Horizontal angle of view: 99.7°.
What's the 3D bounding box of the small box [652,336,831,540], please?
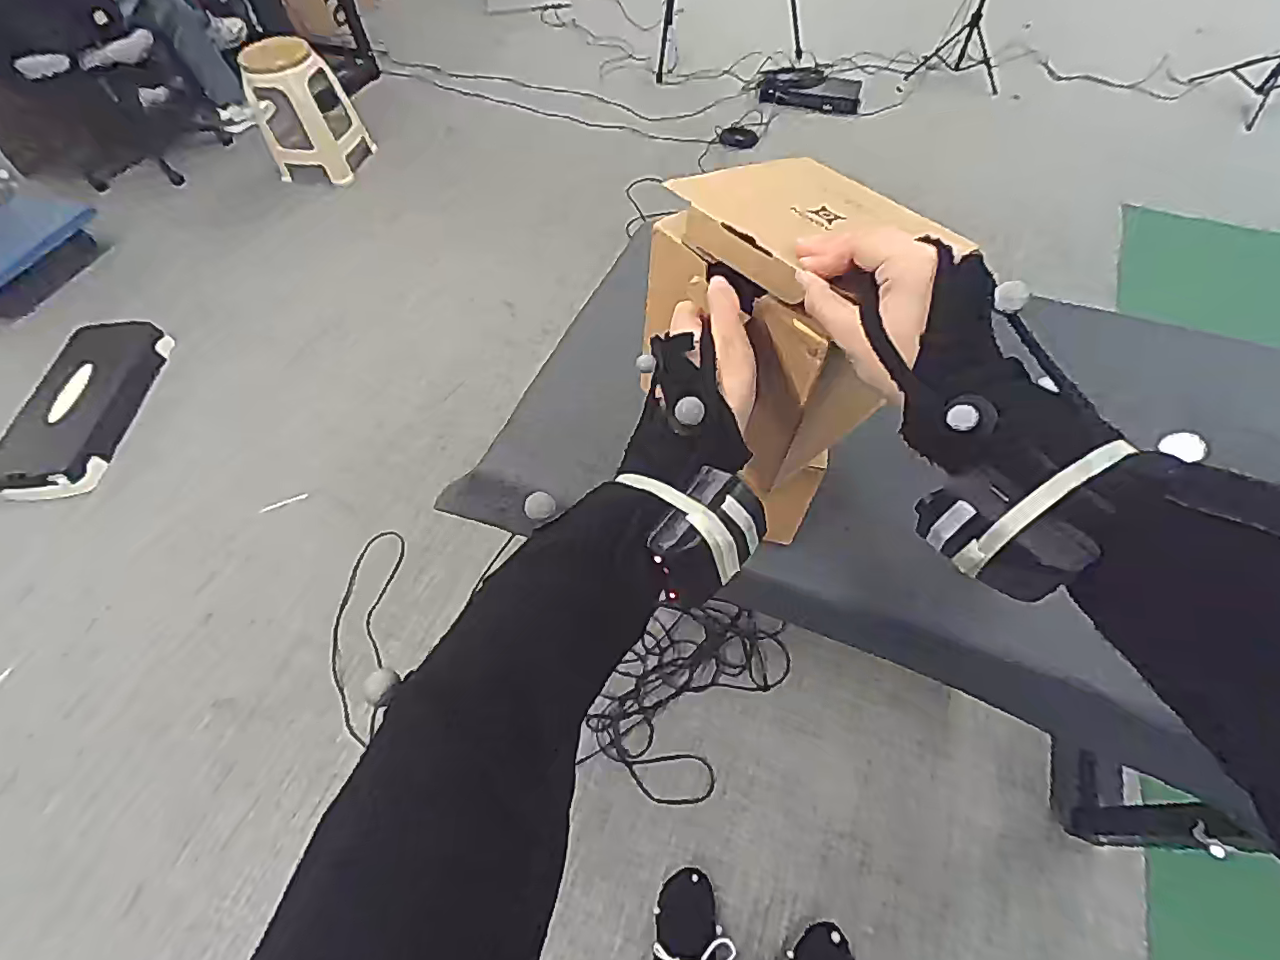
[{"bbox_3d":[0.115,-0.044,0.643,0.179,0.176,0.168,8,57,8],"label":"small box"}]
